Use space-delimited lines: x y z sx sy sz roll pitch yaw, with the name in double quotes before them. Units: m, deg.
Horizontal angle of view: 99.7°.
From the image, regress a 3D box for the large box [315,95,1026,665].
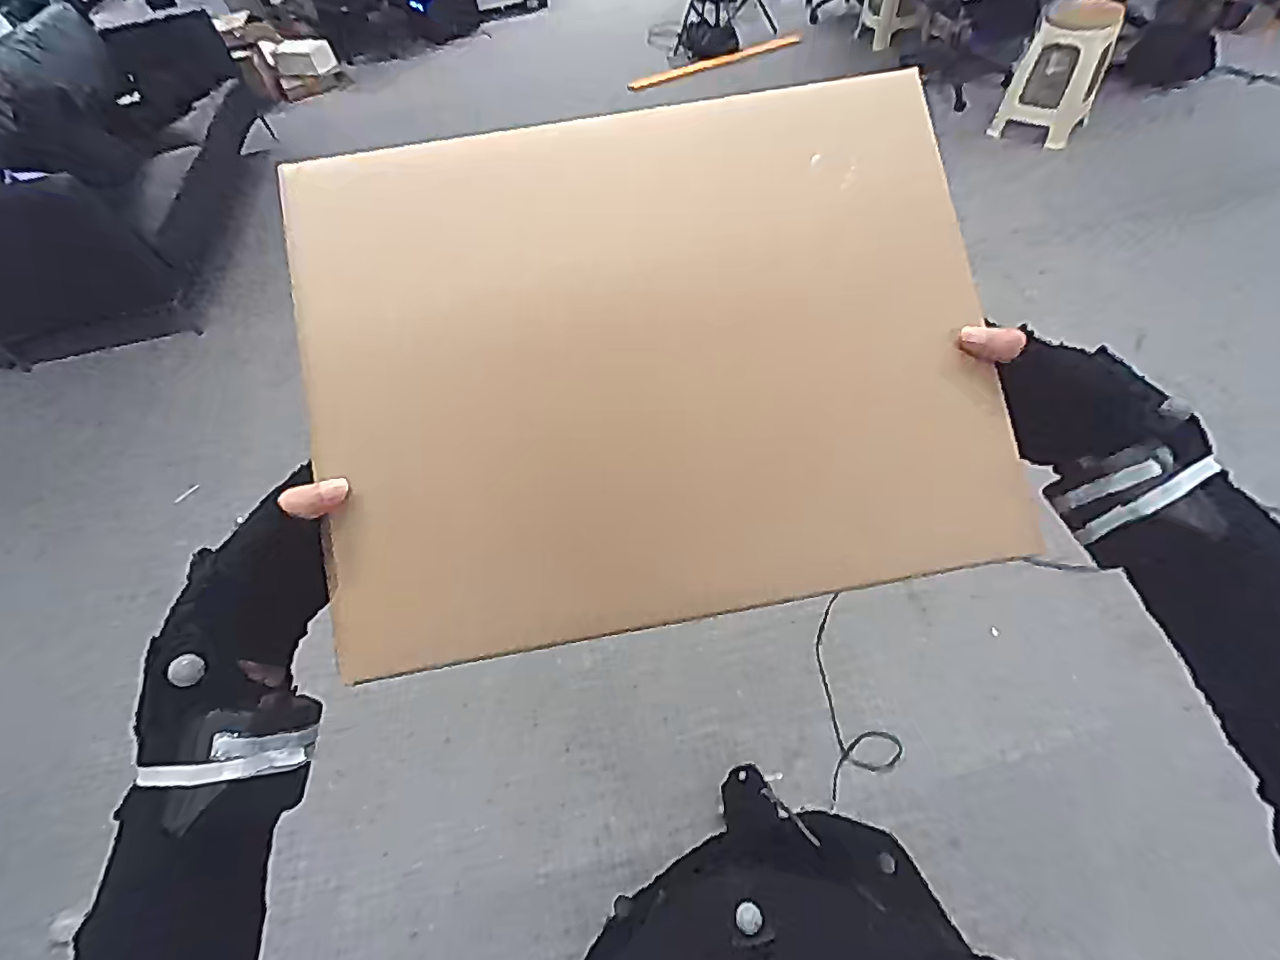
"large box" 0.009 -0.054 0.473 0.408 0.320 0.320 -9 84 -2
